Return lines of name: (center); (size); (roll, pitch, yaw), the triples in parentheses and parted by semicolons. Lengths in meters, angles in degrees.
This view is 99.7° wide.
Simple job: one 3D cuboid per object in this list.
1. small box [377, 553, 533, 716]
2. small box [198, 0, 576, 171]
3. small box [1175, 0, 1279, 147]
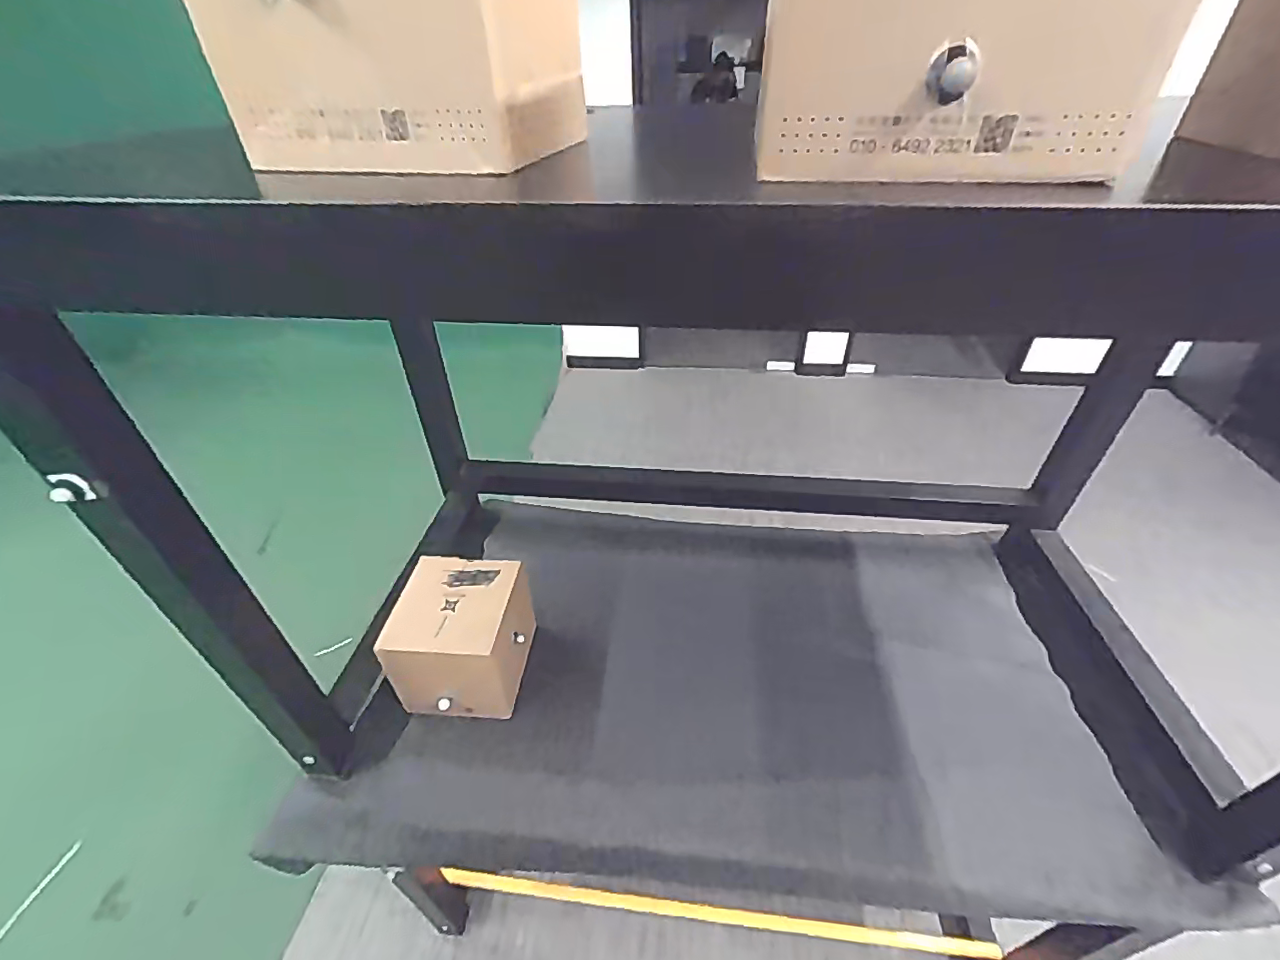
small box: (-0.269, 0.236, 0.838); (0.168, 0.176, 0.179); (2, 38, 4)
small box: (-0.143, -0.298, 0.336); (0.168, 0.176, 0.179); (6, 38, 9)
small box: (0.422, -0.252, 0.249); (0.168, 0.176, 0.179); (9, 39, 13)
